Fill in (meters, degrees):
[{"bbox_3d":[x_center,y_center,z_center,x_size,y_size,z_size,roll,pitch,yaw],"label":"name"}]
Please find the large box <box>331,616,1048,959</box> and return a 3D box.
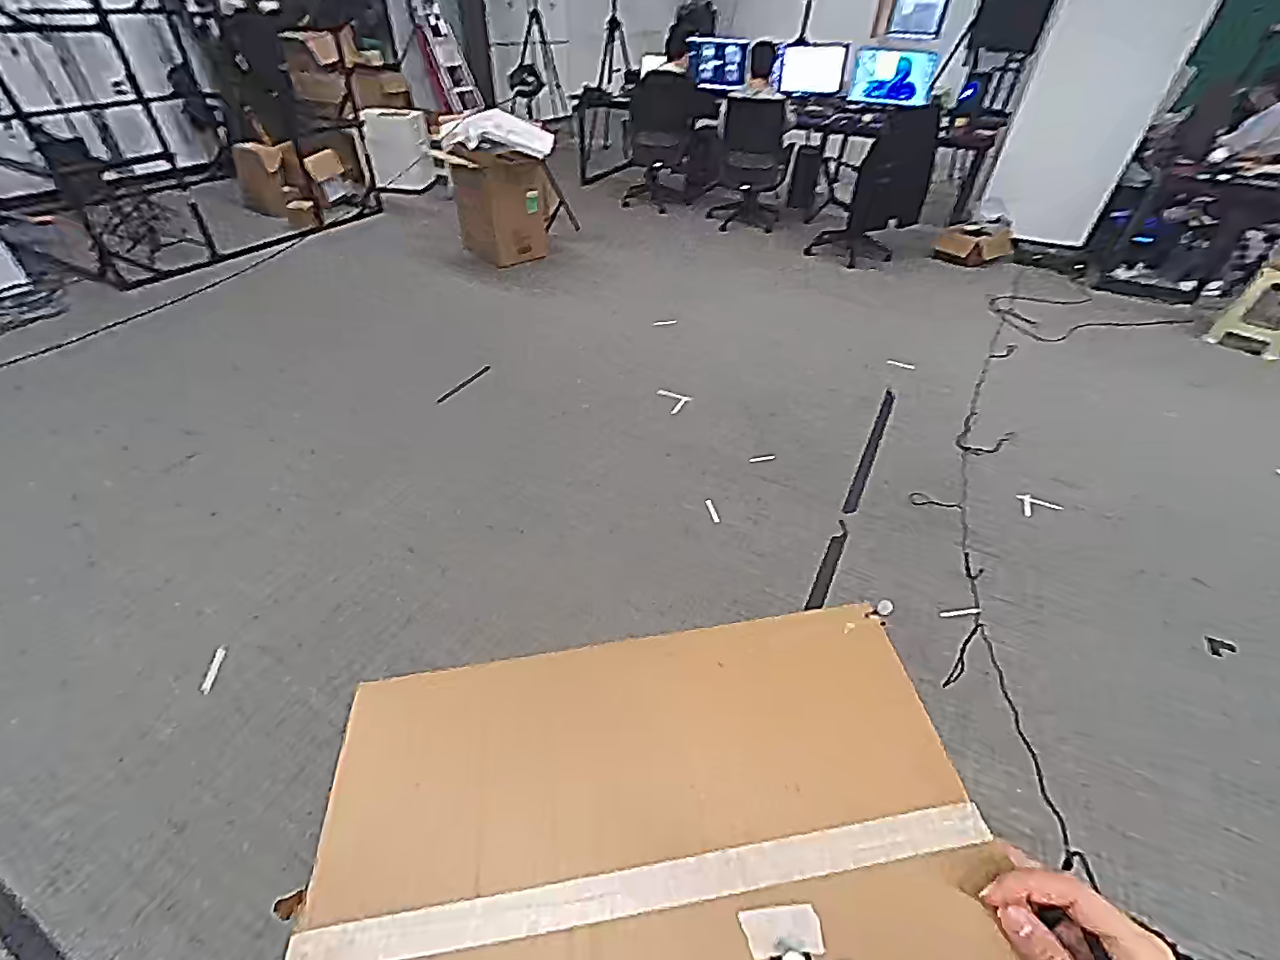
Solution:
[{"bbox_3d":[0.023,0.350,0.428,0.408,0.320,0.320,-8,47,-5],"label":"large box"}]
